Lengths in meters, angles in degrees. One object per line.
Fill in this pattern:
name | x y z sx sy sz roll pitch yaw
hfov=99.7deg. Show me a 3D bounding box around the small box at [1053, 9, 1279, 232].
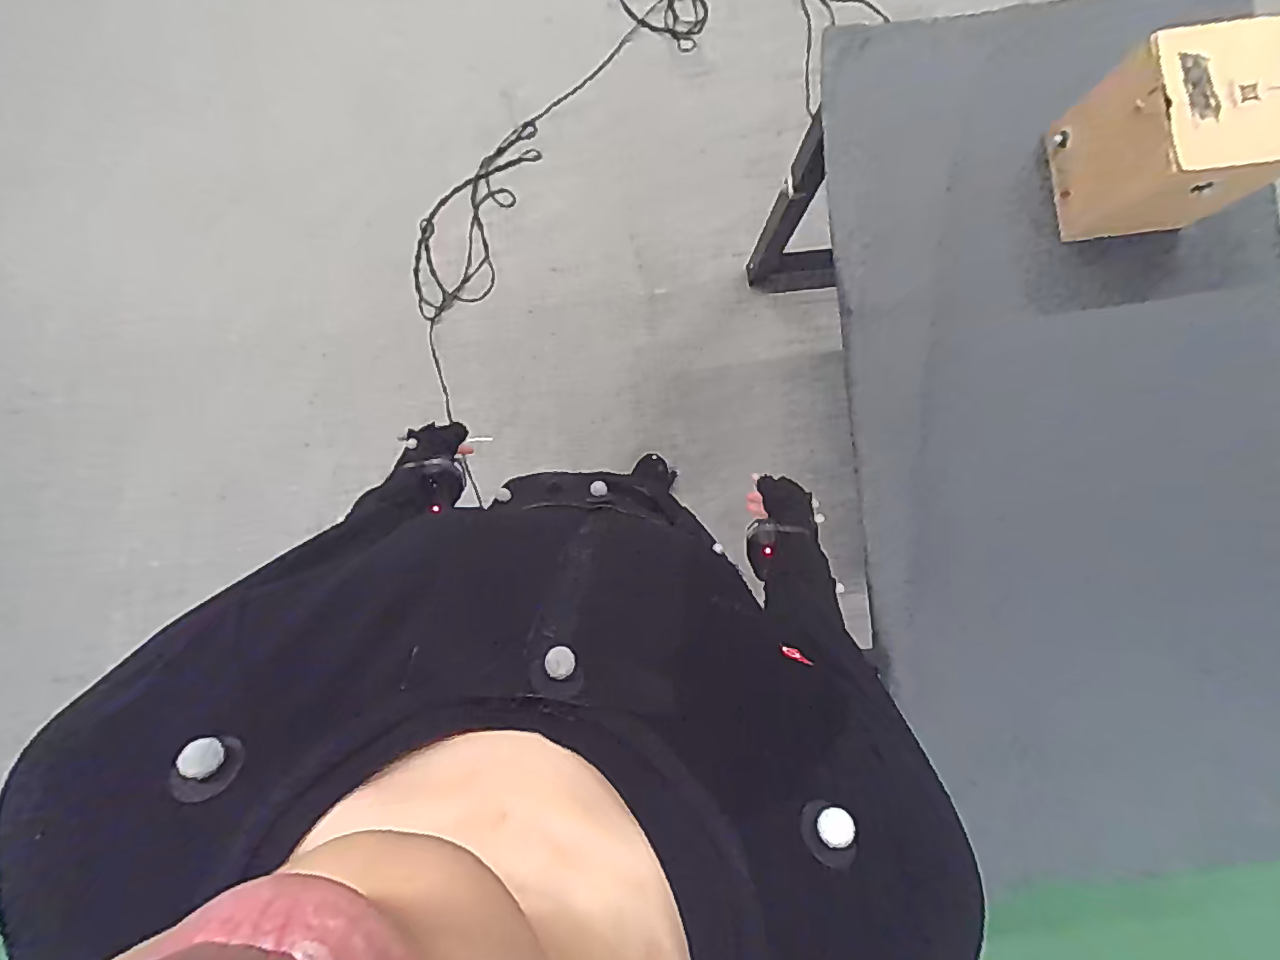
small box | 0.664 -0.435 0.682 0.179 0.176 0.168 -8 89 -1
